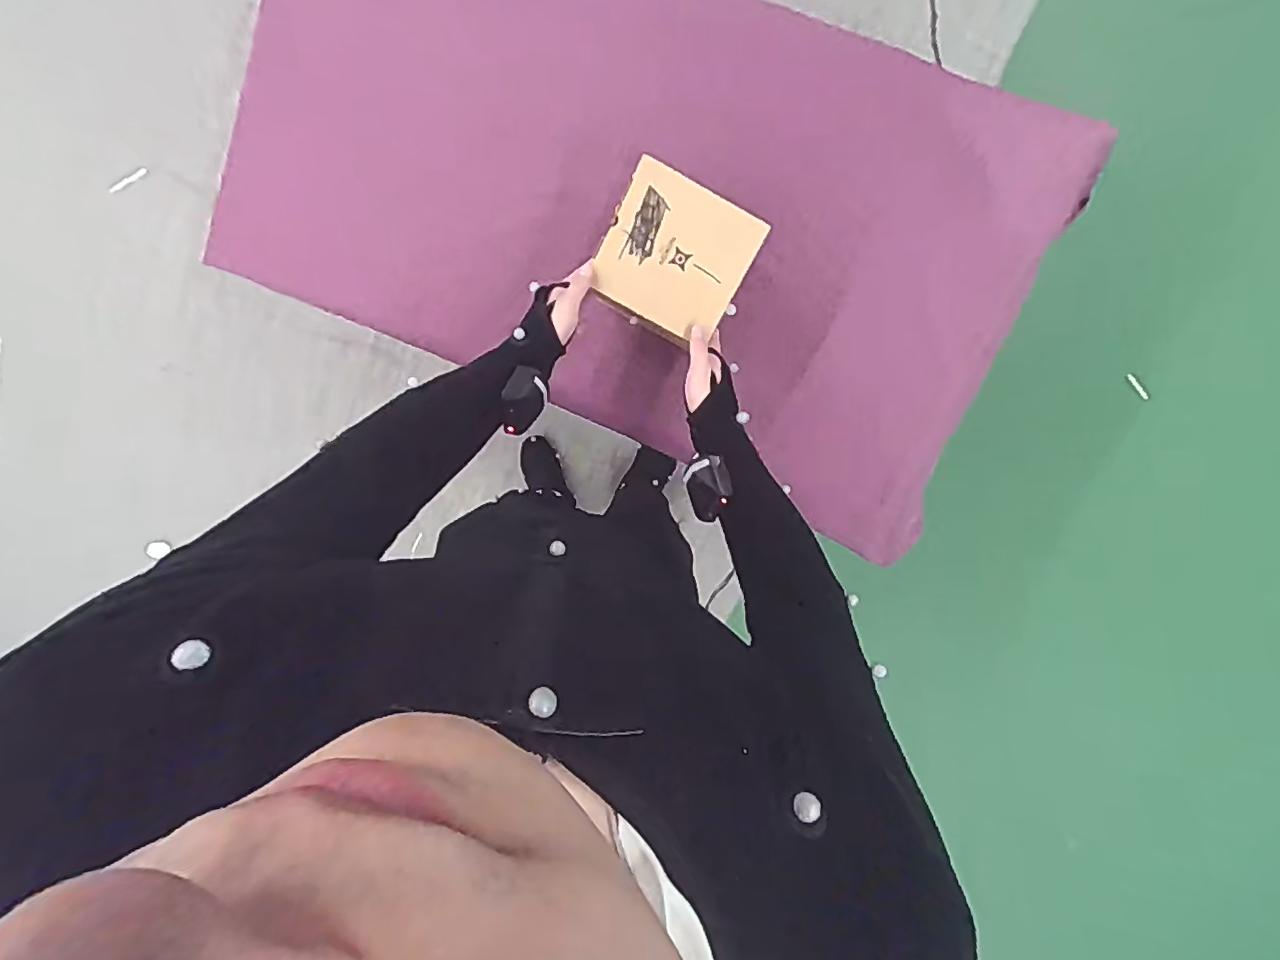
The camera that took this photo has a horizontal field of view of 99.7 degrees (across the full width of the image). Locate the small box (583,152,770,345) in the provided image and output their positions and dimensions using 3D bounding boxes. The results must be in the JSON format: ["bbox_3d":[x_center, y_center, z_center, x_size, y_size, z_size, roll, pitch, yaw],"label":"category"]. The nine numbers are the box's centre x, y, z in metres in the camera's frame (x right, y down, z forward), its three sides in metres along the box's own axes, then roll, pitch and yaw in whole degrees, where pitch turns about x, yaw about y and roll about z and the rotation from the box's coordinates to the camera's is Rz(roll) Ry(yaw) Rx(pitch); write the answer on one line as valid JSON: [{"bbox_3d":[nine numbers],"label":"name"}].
[{"bbox_3d":[0.045,-0.292,0.732,0.179,0.176,0.168,29,102,-4],"label":"small box"}]
